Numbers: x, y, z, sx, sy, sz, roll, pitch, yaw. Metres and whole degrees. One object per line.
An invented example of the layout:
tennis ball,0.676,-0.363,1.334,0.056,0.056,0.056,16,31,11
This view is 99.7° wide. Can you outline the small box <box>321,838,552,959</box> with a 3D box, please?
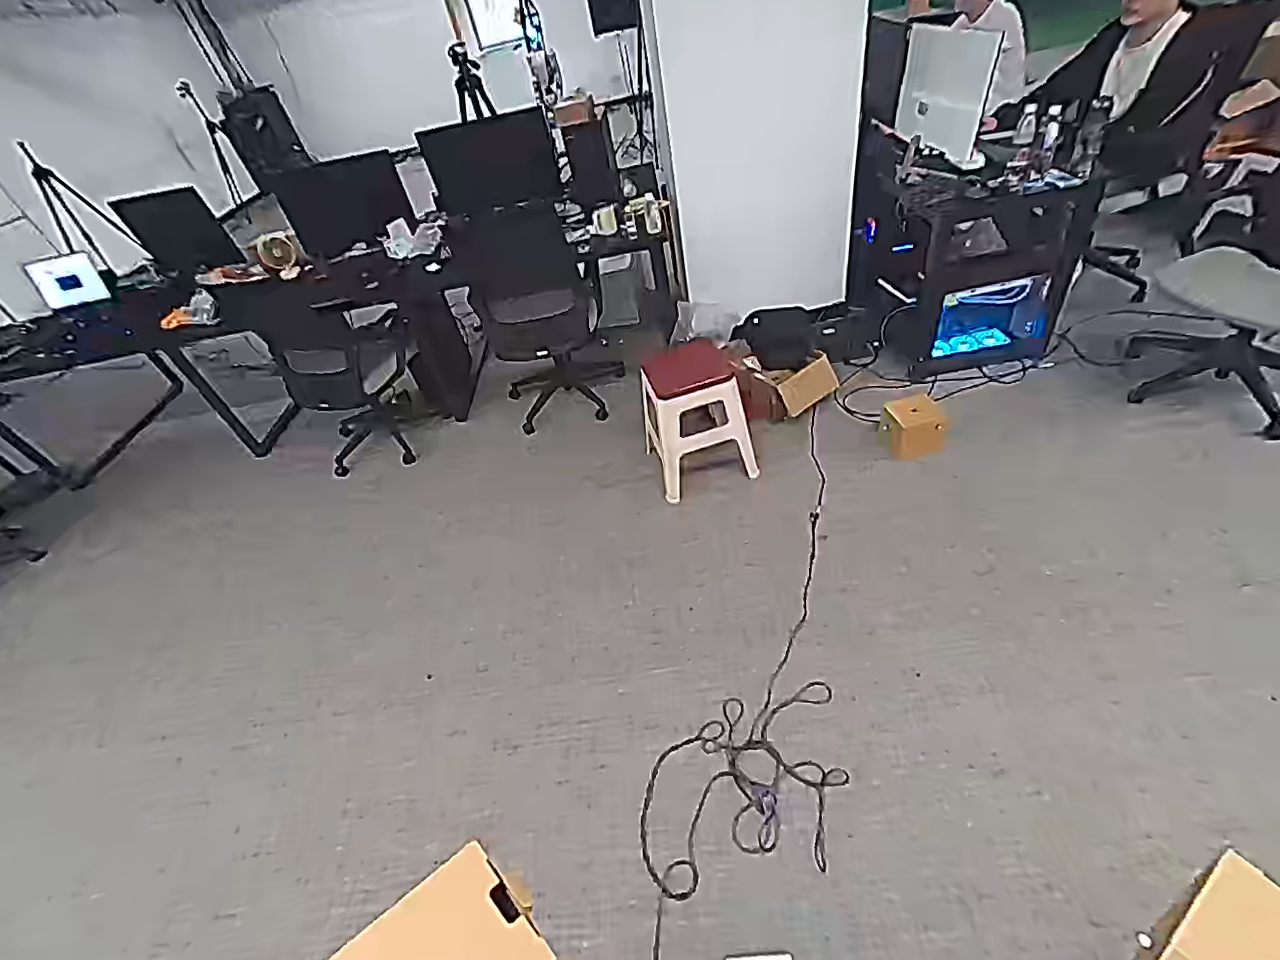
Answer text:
small box,-0.208,0.553,0.581,0.179,0.176,0.168,-23,40,-40
